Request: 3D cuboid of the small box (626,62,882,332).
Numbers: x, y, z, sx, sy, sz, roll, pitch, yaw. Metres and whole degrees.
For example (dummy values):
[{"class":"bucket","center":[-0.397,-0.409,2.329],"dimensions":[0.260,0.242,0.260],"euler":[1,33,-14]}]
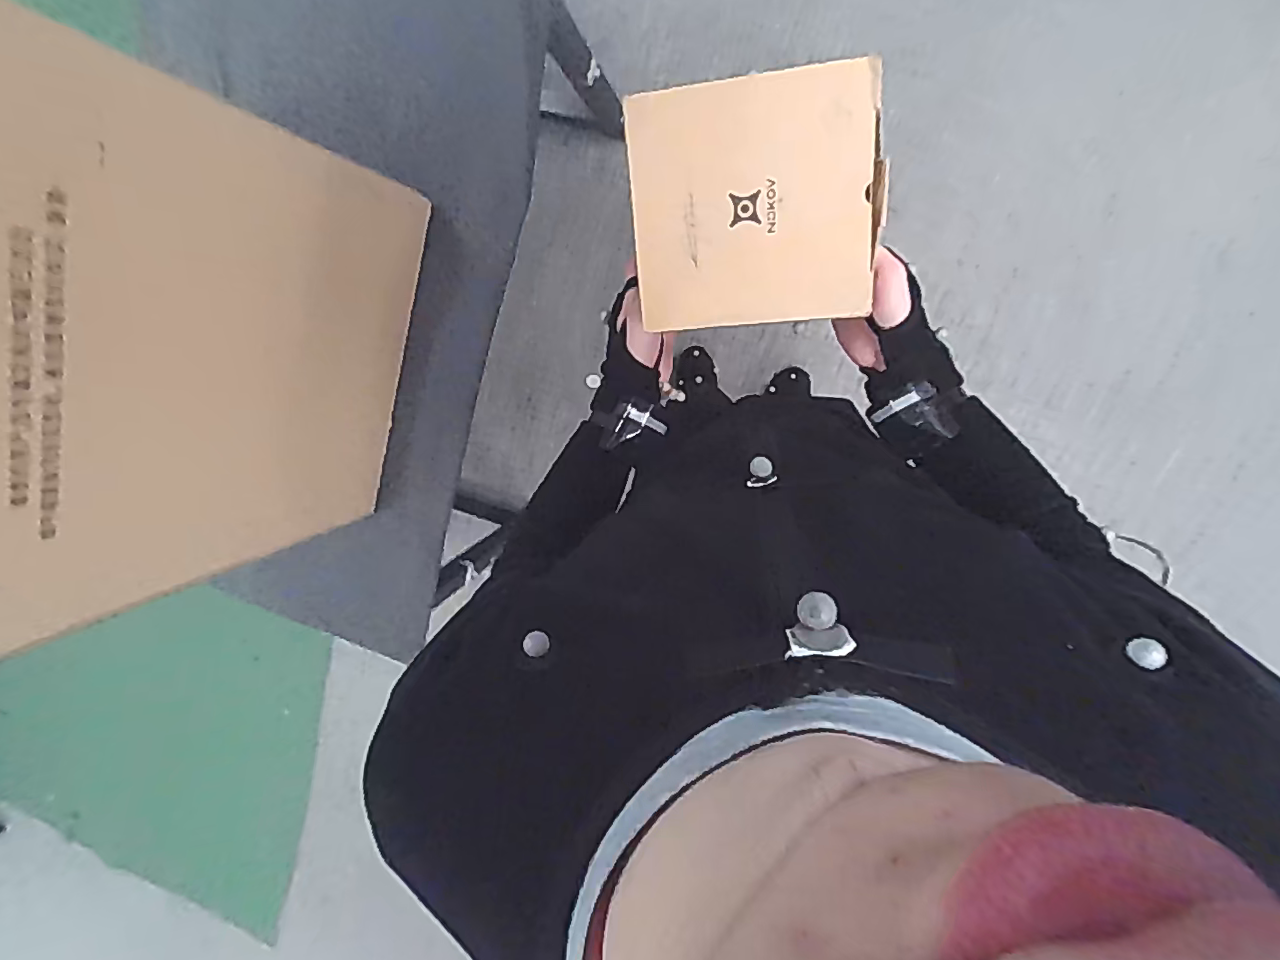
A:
[{"class":"small box","center":[0.093,-0.223,0.469],"dimensions":[0.179,0.176,0.168],"euler":[-1,108,11]}]
